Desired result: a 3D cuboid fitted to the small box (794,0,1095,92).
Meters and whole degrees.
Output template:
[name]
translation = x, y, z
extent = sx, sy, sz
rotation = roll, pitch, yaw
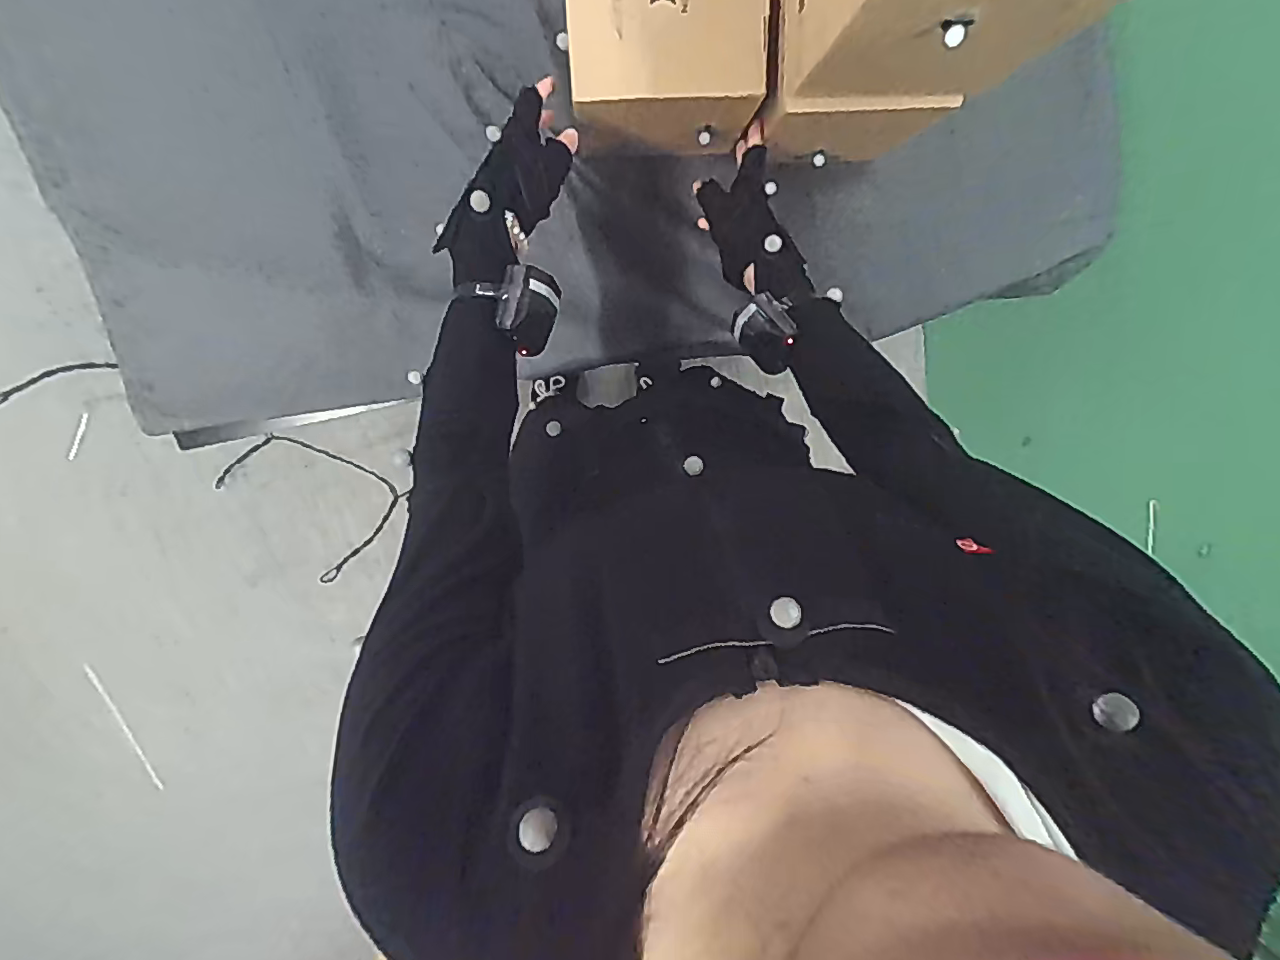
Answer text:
[small box]
translation = 0.220, -0.404, 0.386
extent = 0.179, 0.176, 0.168
rotation = -3, 107, -2
